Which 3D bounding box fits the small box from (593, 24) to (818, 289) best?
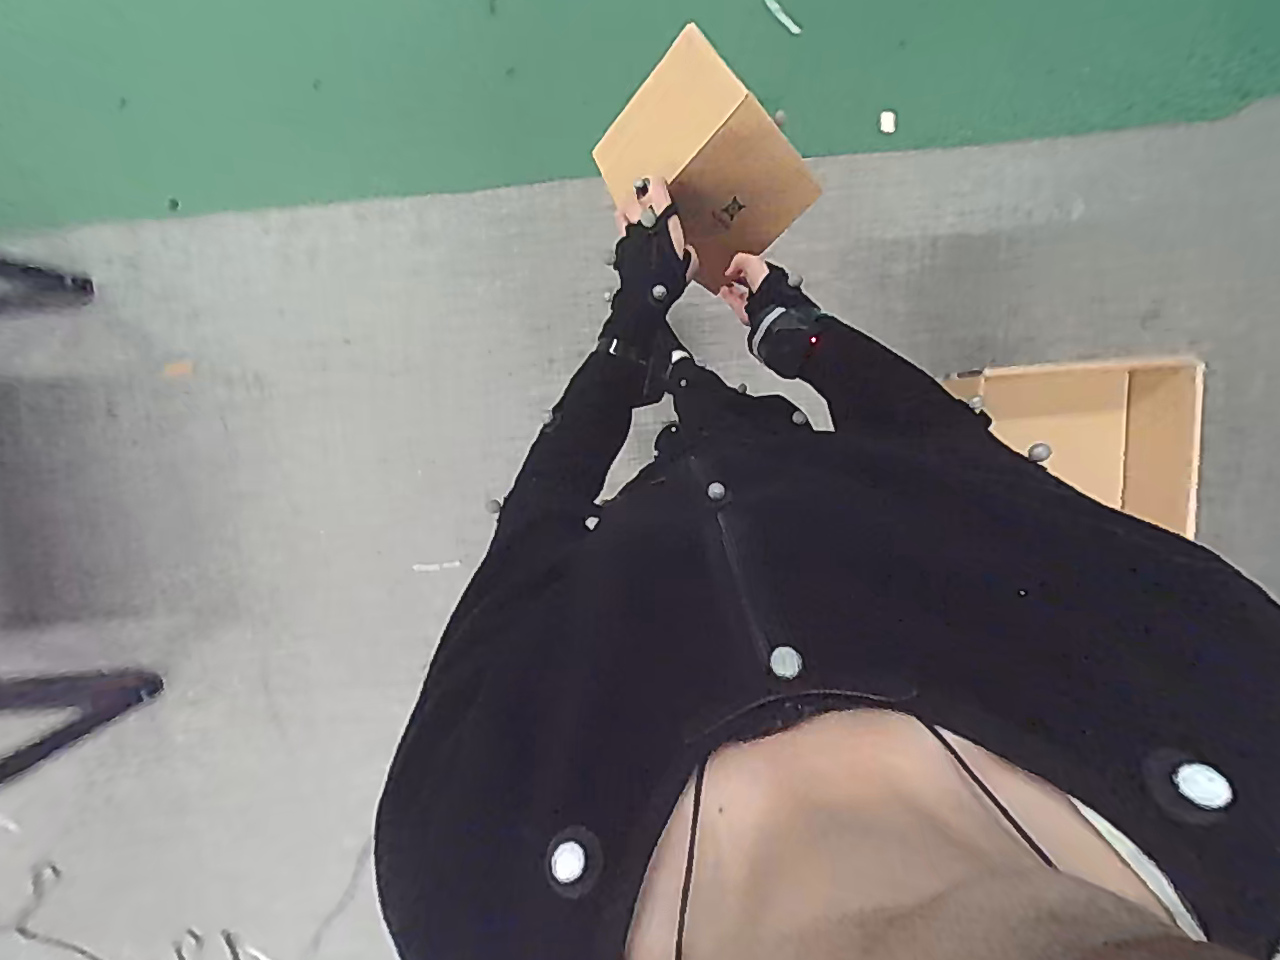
[{"bbox_3d":[0.067,-0.372,0.636,0.179,0.168,0.176,-39,56,32],"label":"small box"}]
